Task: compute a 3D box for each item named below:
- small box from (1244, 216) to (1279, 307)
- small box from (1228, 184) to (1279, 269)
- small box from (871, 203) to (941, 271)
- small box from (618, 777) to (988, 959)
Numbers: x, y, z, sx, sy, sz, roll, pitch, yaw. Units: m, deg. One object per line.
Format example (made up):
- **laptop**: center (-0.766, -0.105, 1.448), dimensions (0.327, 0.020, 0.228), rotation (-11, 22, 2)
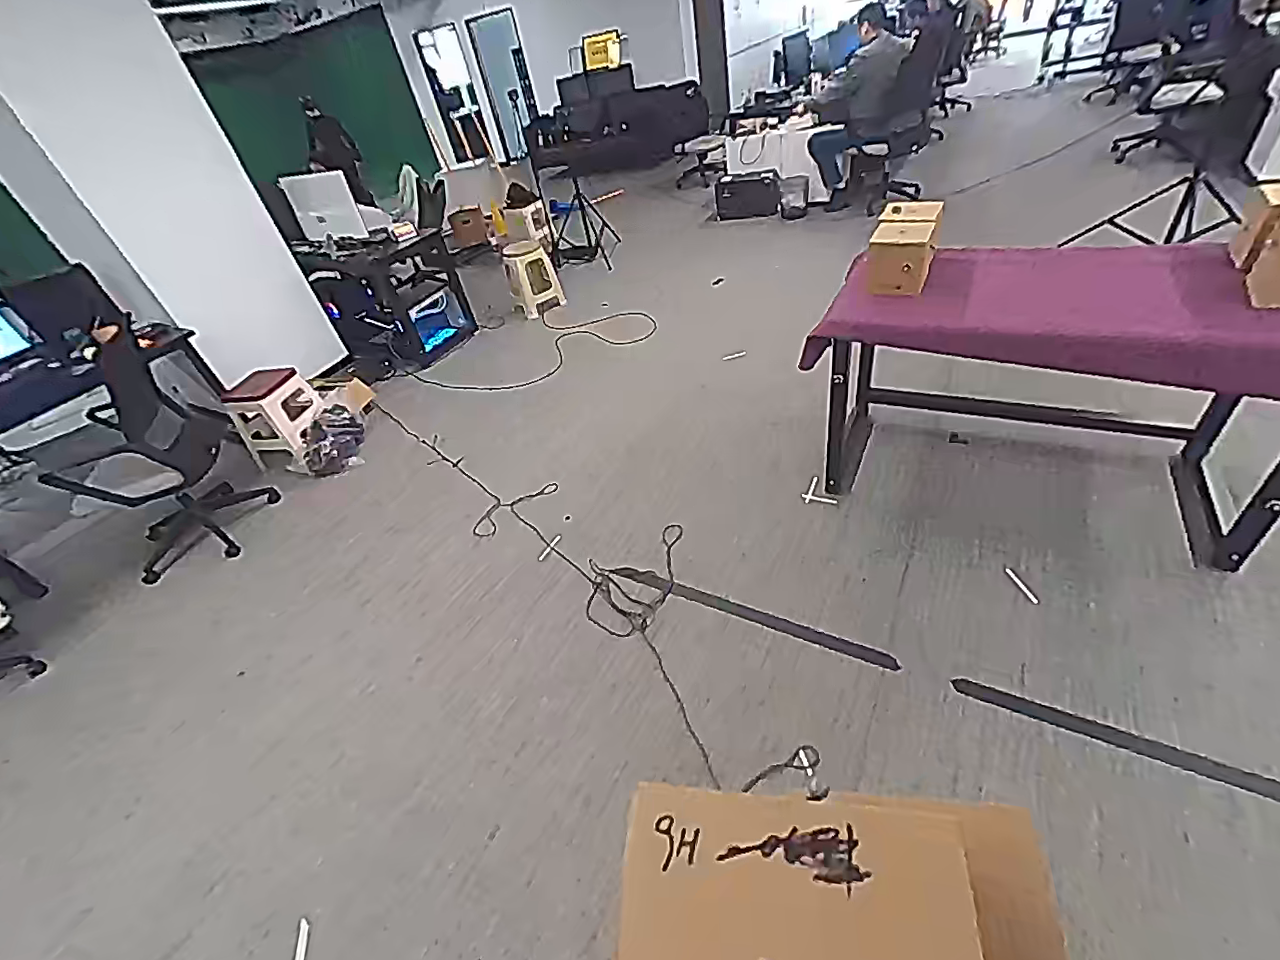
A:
- **small box**: center (1.601, -0.518, 1.290), dimensions (0.168, 0.176, 0.179), rotation (16, 47, 32)
- **small box**: center (1.706, -0.665, 1.422), dimensions (0.179, 0.176, 0.168), rotation (14, 48, 28)
- **small box**: center (0.903, -0.828, 1.846), dimensions (0.179, 0.176, 0.168), rotation (15, 49, 29)
- **small box**: center (0.091, 0.278, 0.298), dimensions (0.168, 0.176, 0.179), rotation (-4, 56, 19)
